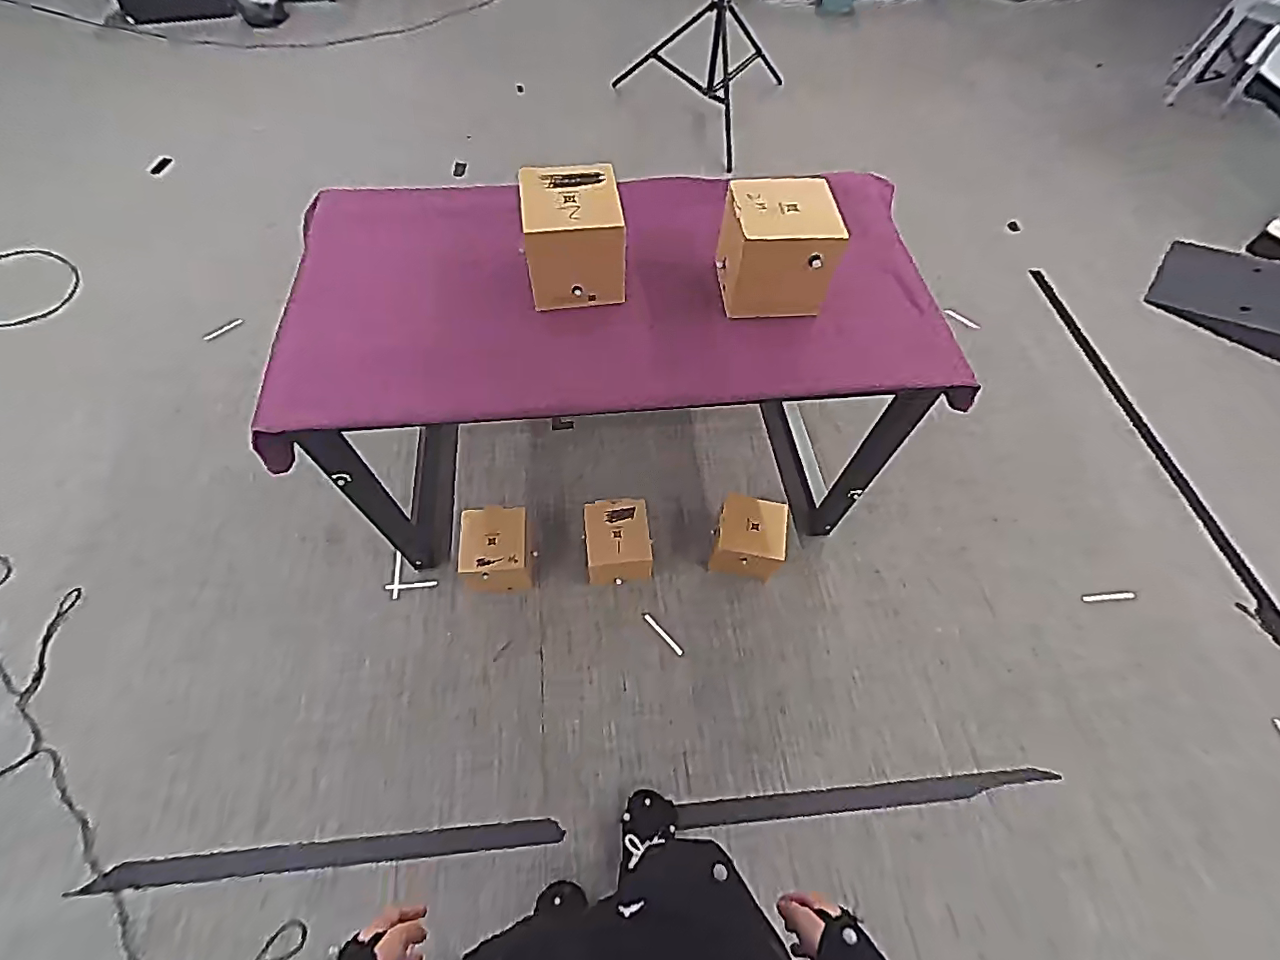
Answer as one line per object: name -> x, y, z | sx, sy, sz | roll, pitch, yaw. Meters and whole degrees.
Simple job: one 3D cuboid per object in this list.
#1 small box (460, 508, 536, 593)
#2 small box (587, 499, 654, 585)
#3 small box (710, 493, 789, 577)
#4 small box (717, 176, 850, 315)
small box -> -0.373, 0.191, 1.450 | 0.168, 0.176, 0.179 | -3, 59, -3
small box -> -0.057, 0.172, 1.469 | 0.168, 0.176, 0.179 | -5, 62, -4
small box -> 0.299, 0.158, 1.490 | 0.179, 0.176, 0.168 | 10, 61, 5
small box -> 0.246, -0.417, 0.974 | 0.179, 0.176, 0.168 | -3, 60, -3
